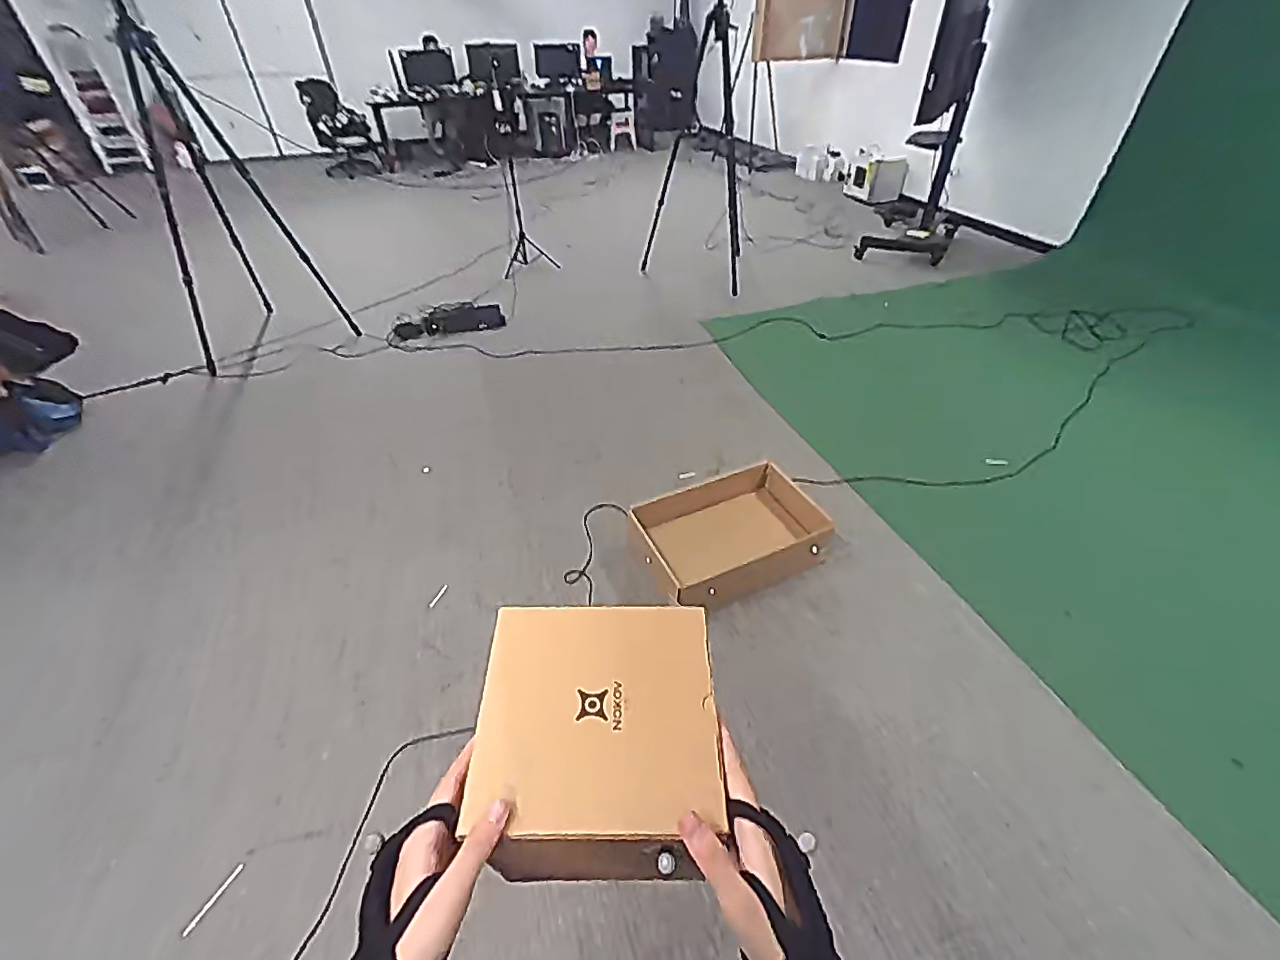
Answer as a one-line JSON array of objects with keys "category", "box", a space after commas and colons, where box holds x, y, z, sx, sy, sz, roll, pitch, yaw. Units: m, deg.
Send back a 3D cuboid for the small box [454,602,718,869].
[{"category": "small box", "box": [-0.036, 0.220, 0.463, 0.179, 0.176, 0.168, 1, 46, -1]}]
